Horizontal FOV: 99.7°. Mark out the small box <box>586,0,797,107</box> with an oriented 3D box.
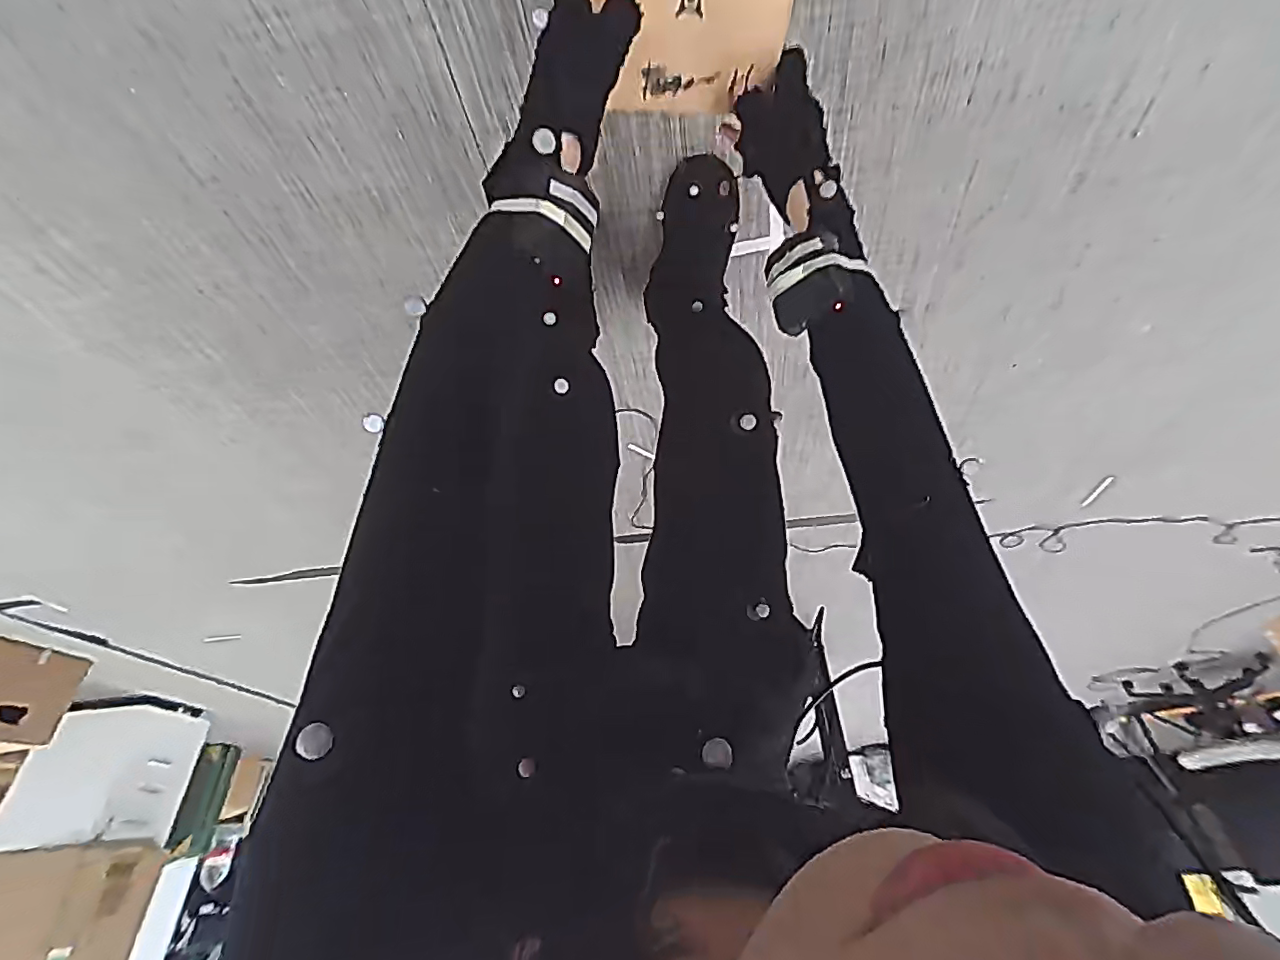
[{"bbox_3d":[0.039,-0.455,0.466,0.168,0.176,0.179,-1,141,-7],"label":"small box"}]
